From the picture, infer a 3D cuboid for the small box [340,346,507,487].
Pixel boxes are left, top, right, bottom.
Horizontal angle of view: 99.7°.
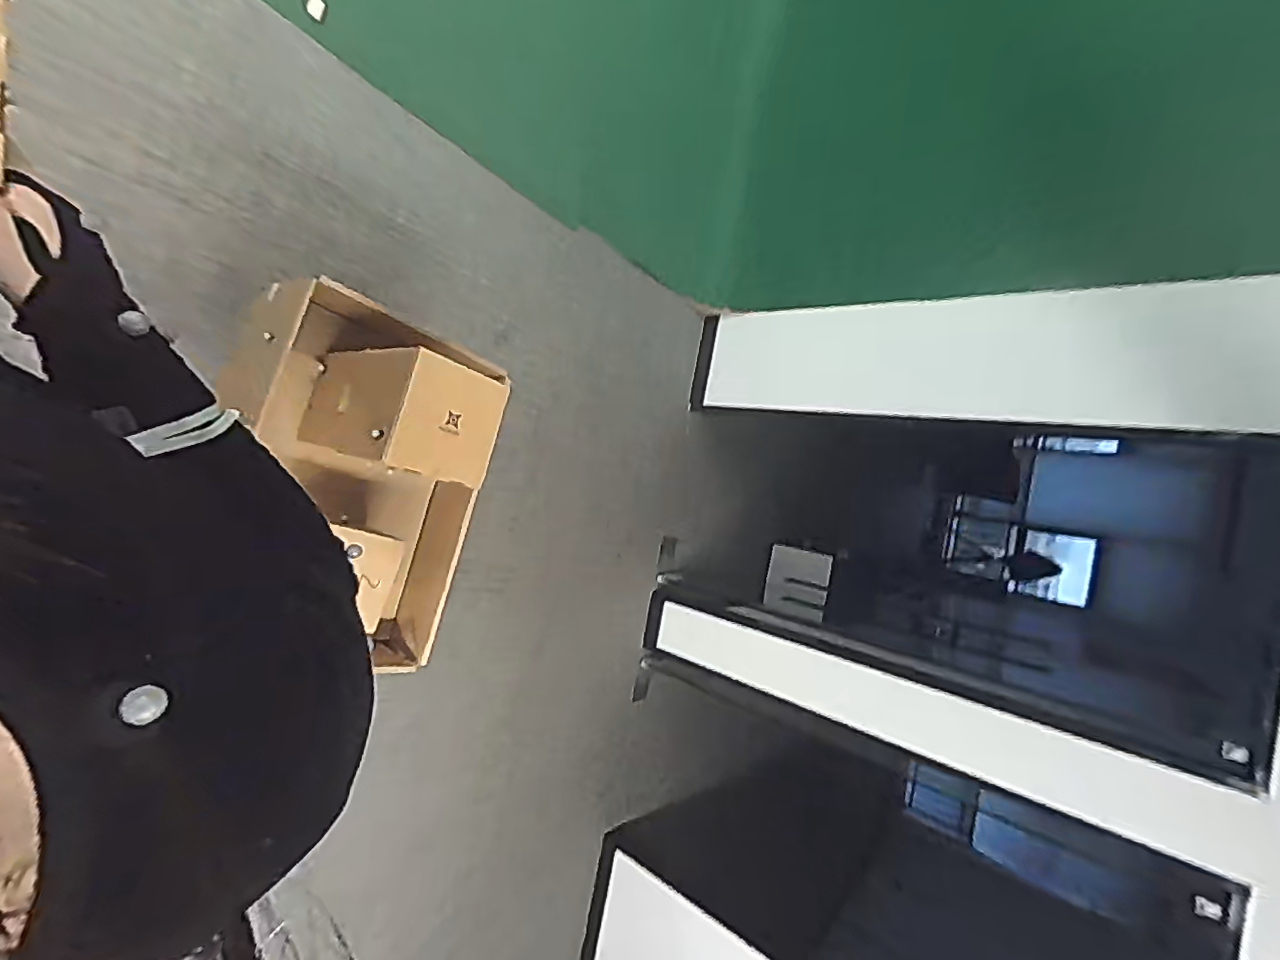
[{"bbox_3d":[-0.348,-0.102,0.866,0.168,0.176,0.179,21,83,-51],"label":"small box"}]
